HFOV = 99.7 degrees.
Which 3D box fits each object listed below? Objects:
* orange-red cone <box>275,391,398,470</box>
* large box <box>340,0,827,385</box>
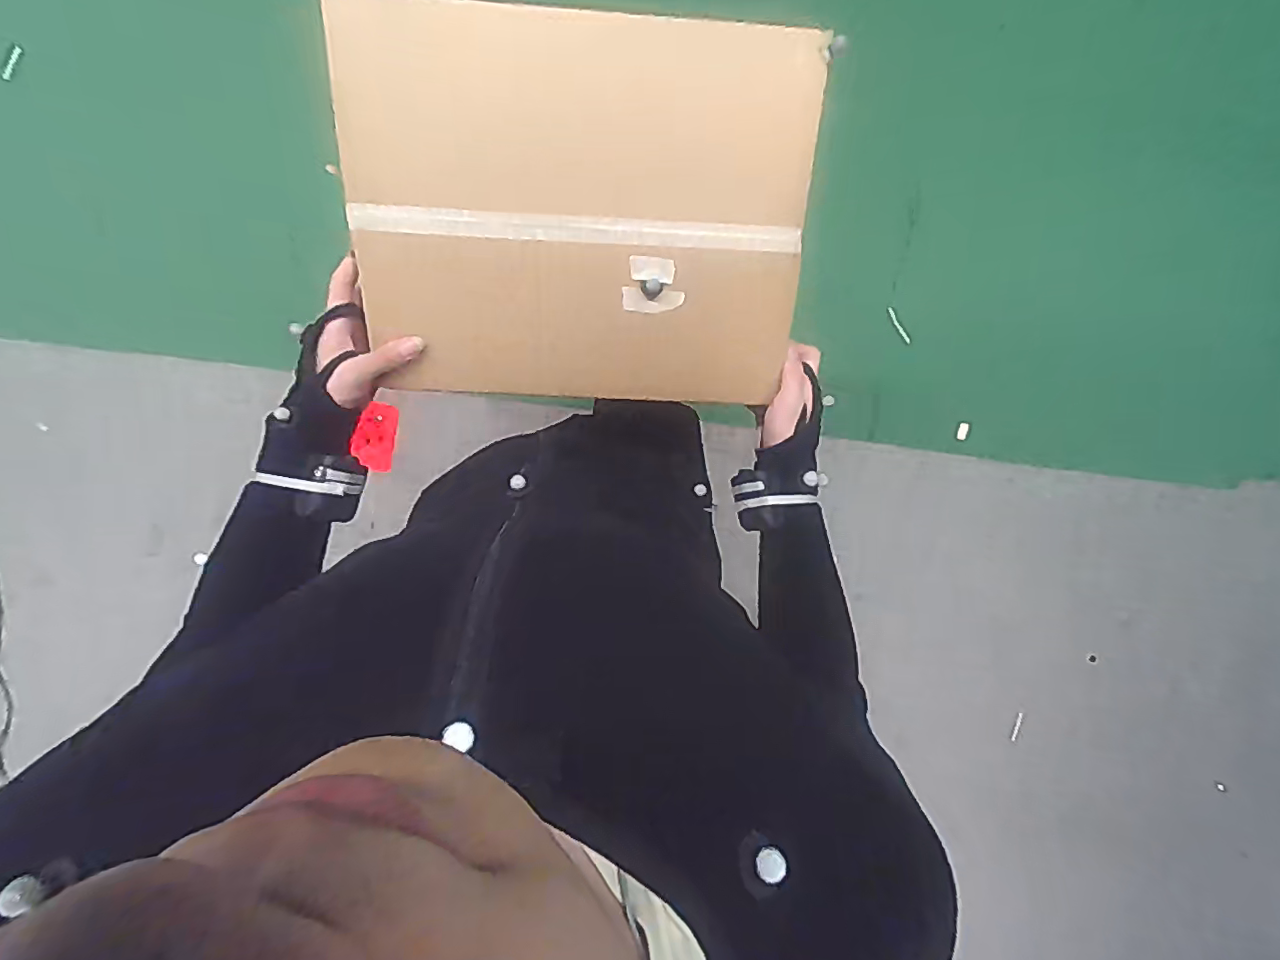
[{"bbox_3d":[-0.800,-0.111,1.376,0.199,0.360,0.198,15,99,-3],"label":"orange-red cone"},{"bbox_3d":[-0.056,-0.299,0.631,0.408,0.320,0.320,1,113,-4],"label":"large box"}]
